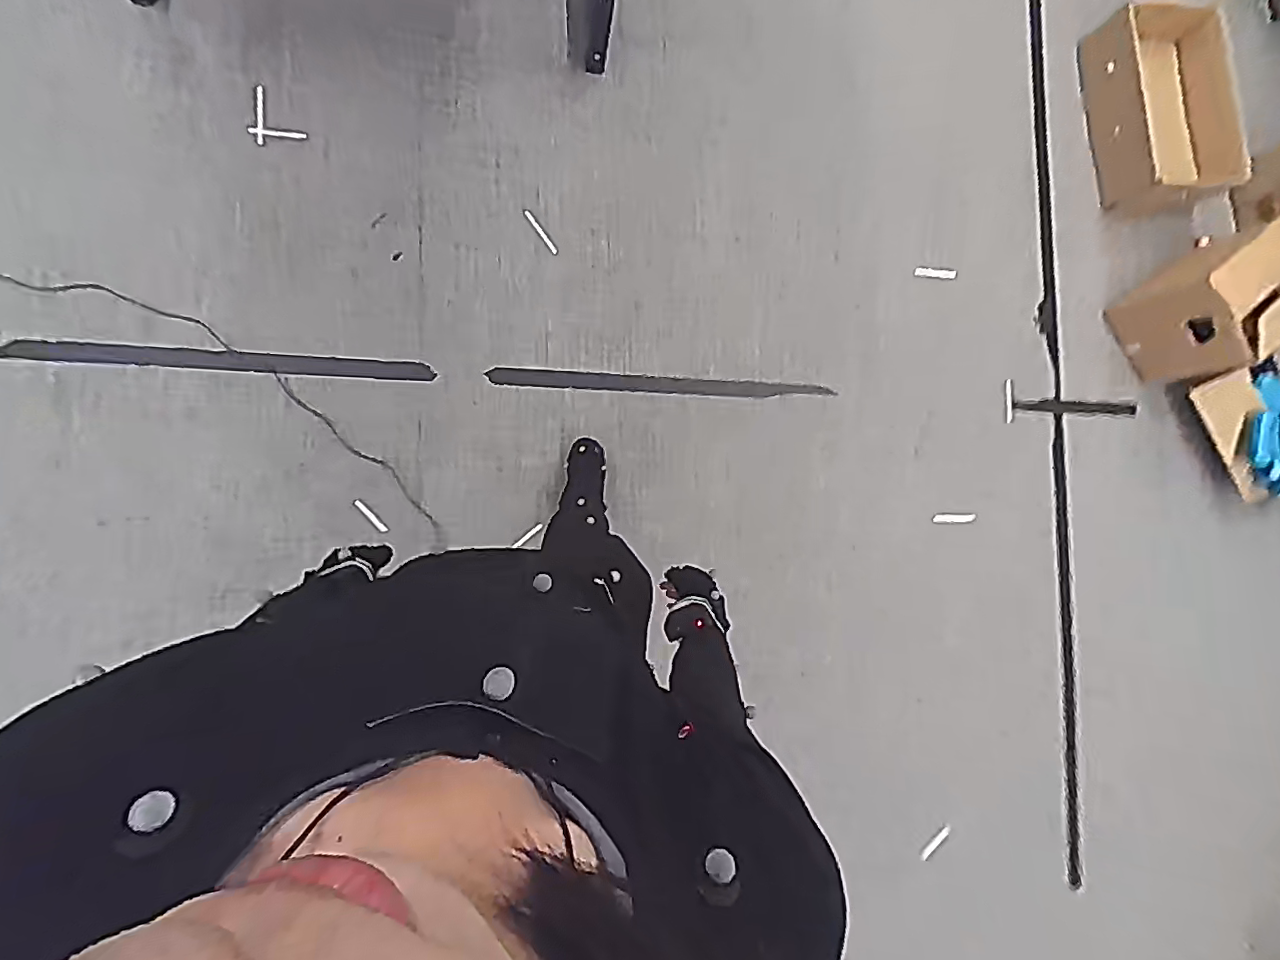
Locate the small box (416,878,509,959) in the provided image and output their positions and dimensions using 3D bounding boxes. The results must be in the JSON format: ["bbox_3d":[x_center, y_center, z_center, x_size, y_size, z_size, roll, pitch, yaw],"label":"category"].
[{"bbox_3d":[-0.423,1.135,1.320,0.168,0.176,0.179,-18,90,-13],"label":"small box"}]
